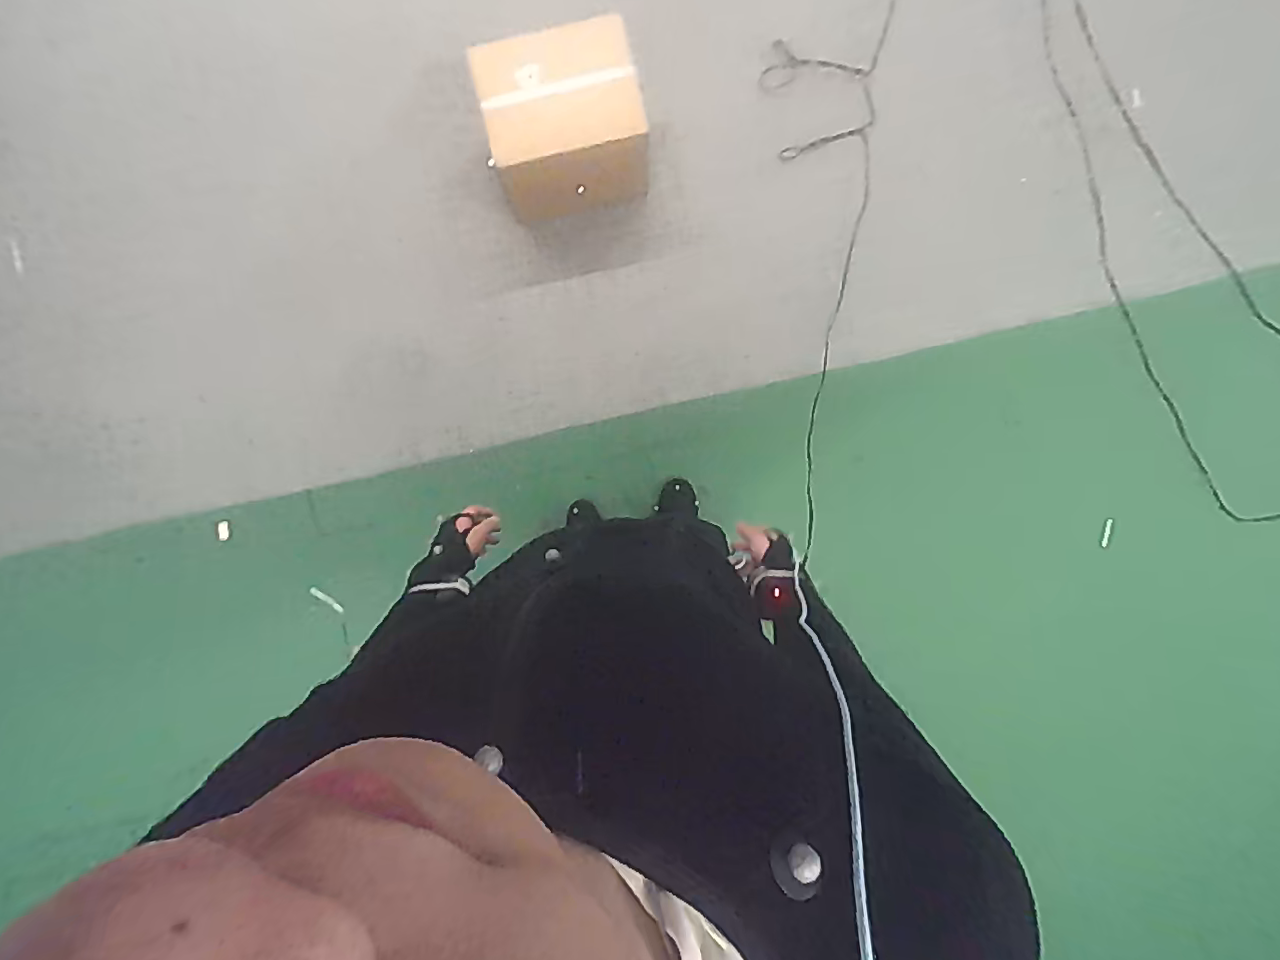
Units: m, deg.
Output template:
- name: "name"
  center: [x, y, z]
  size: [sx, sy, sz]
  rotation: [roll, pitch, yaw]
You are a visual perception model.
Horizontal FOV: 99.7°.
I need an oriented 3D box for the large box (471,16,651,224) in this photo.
- name: "large box"
  center: [-0.200, -0.979, 1.517]
  size: [0.408, 0.320, 0.320]
  rotation: [-14, 89, 1]
